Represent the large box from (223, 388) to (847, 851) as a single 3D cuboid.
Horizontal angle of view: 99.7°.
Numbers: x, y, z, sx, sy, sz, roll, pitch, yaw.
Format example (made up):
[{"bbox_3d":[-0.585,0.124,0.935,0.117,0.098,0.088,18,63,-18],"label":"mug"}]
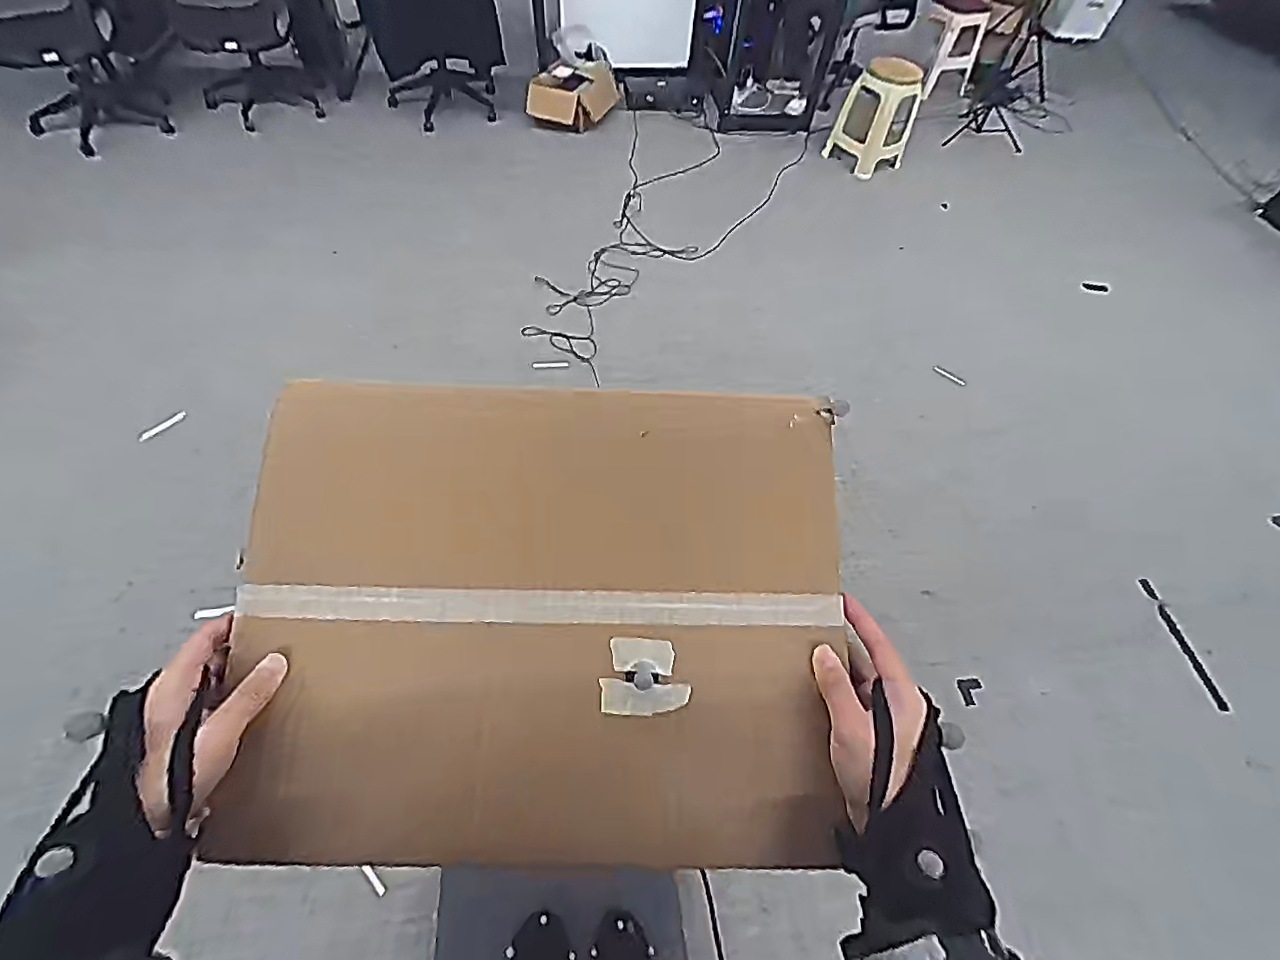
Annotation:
[{"bbox_3d":[-0.069,0.118,0.522,0.408,0.320,0.320,2,77,-2],"label":"large box"}]
